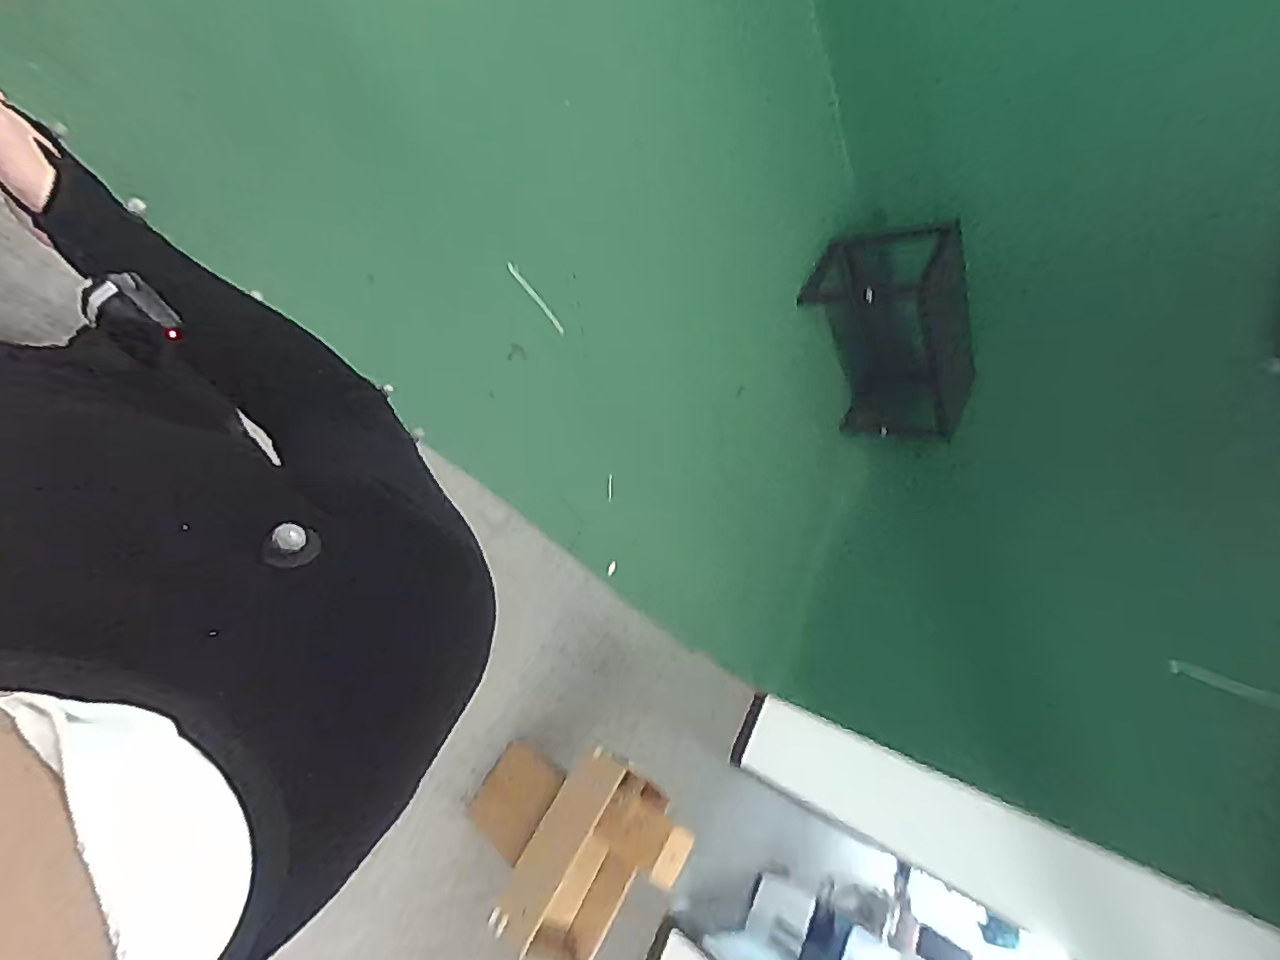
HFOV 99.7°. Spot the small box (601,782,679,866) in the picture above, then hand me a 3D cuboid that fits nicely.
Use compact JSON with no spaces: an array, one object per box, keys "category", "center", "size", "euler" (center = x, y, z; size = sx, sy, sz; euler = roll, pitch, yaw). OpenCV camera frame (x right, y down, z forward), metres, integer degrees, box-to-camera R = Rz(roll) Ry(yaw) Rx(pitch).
[{"category":"small box","center":[0.000,1.177,1.858],"size":[0.168,0.176,0.179],"euler":[-54,134,-24]}]
